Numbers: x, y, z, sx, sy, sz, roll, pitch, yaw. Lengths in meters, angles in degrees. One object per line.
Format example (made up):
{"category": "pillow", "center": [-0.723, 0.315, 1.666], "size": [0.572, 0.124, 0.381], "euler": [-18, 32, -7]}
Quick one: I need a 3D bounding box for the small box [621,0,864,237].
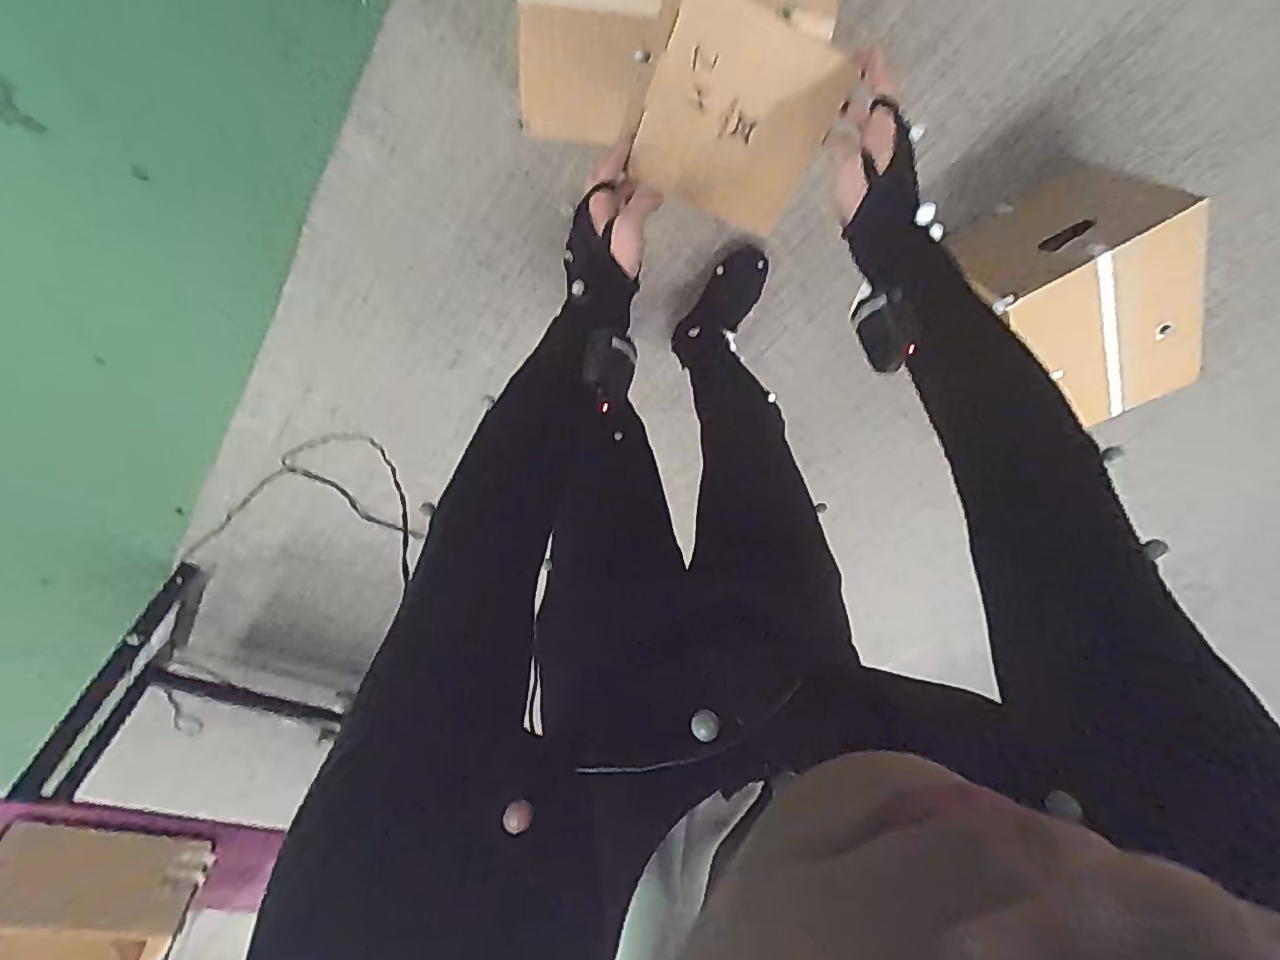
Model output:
{"category": "small box", "center": [0.089, -0.394, 0.563], "size": [0.179, 0.176, 0.168], "euler": [16, 132, -17]}

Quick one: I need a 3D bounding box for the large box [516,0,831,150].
{"category": "large box", "center": [0.039, -0.689, 0.802], "size": [0.408, 0.320, 0.320], "euler": [3, 129, -5]}
